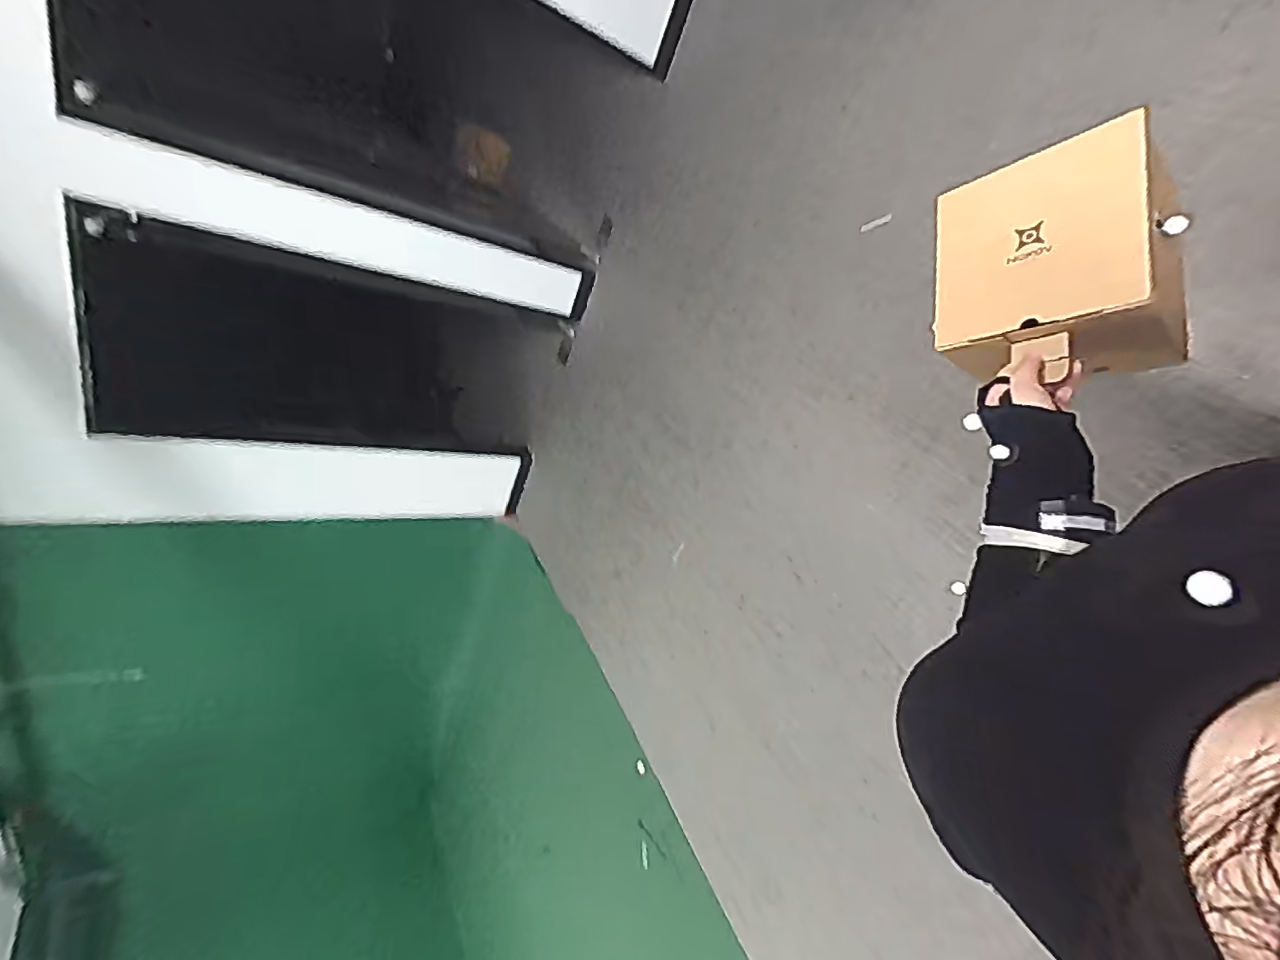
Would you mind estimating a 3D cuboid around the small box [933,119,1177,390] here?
[{"bbox_3d":[0.425,-0.207,0.555,0.168,0.176,0.179,-2,80,50],"label":"small box"}]
